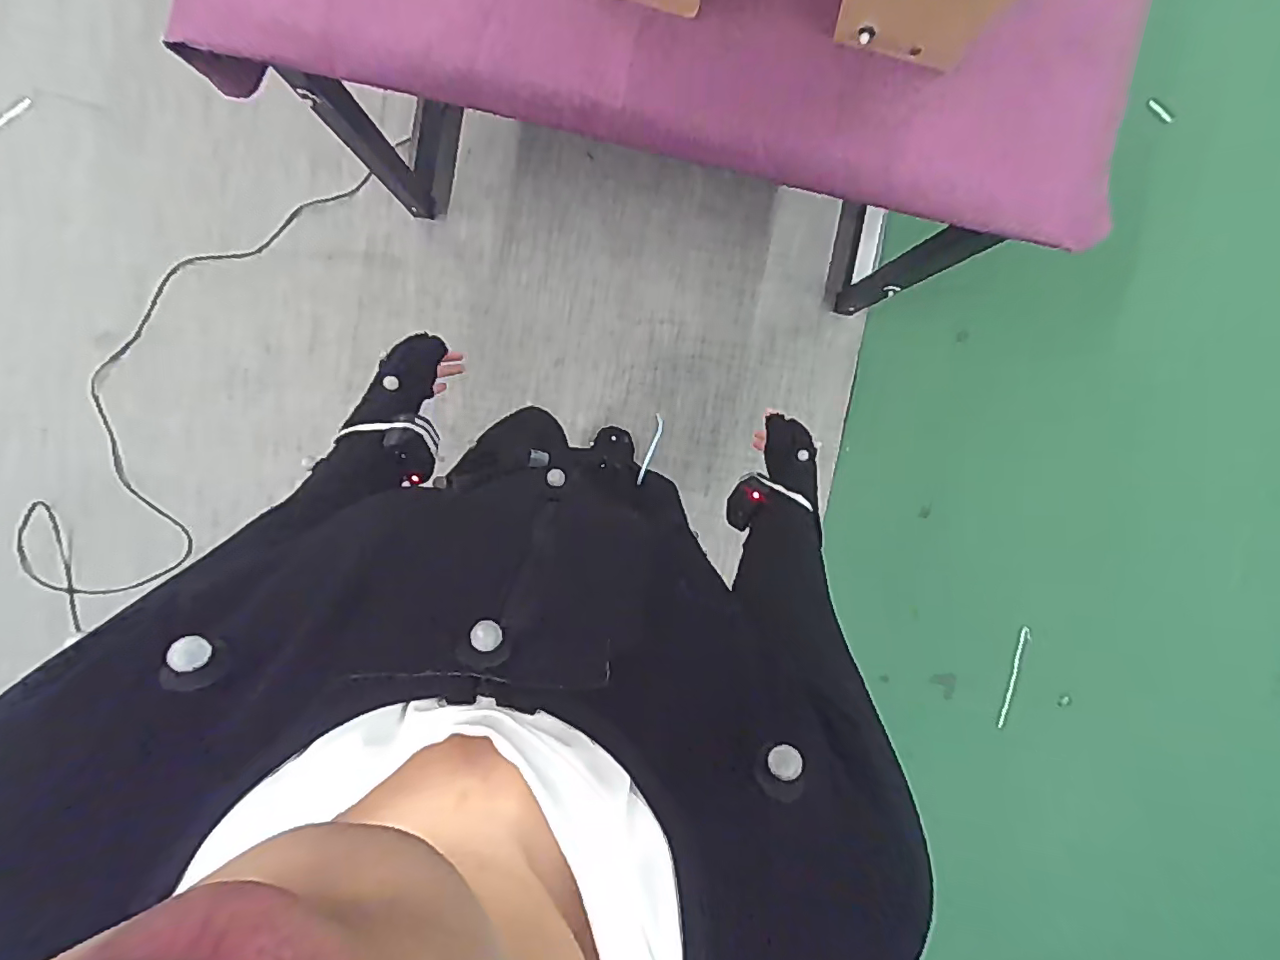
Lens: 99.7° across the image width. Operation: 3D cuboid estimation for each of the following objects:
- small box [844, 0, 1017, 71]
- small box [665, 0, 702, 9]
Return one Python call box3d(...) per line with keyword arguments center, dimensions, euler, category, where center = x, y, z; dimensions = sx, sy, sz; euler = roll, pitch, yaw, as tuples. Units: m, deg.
box3d(center=(0.359, -0.625, 0.618), dimensions=(0.168, 0.176, 0.179), euler=(15, 95, -6), category="small box")
box3d(center=(0.023, -0.684, 0.595), dimensions=(0.168, 0.176, 0.179), euler=(14, 96, -5), category="small box")
